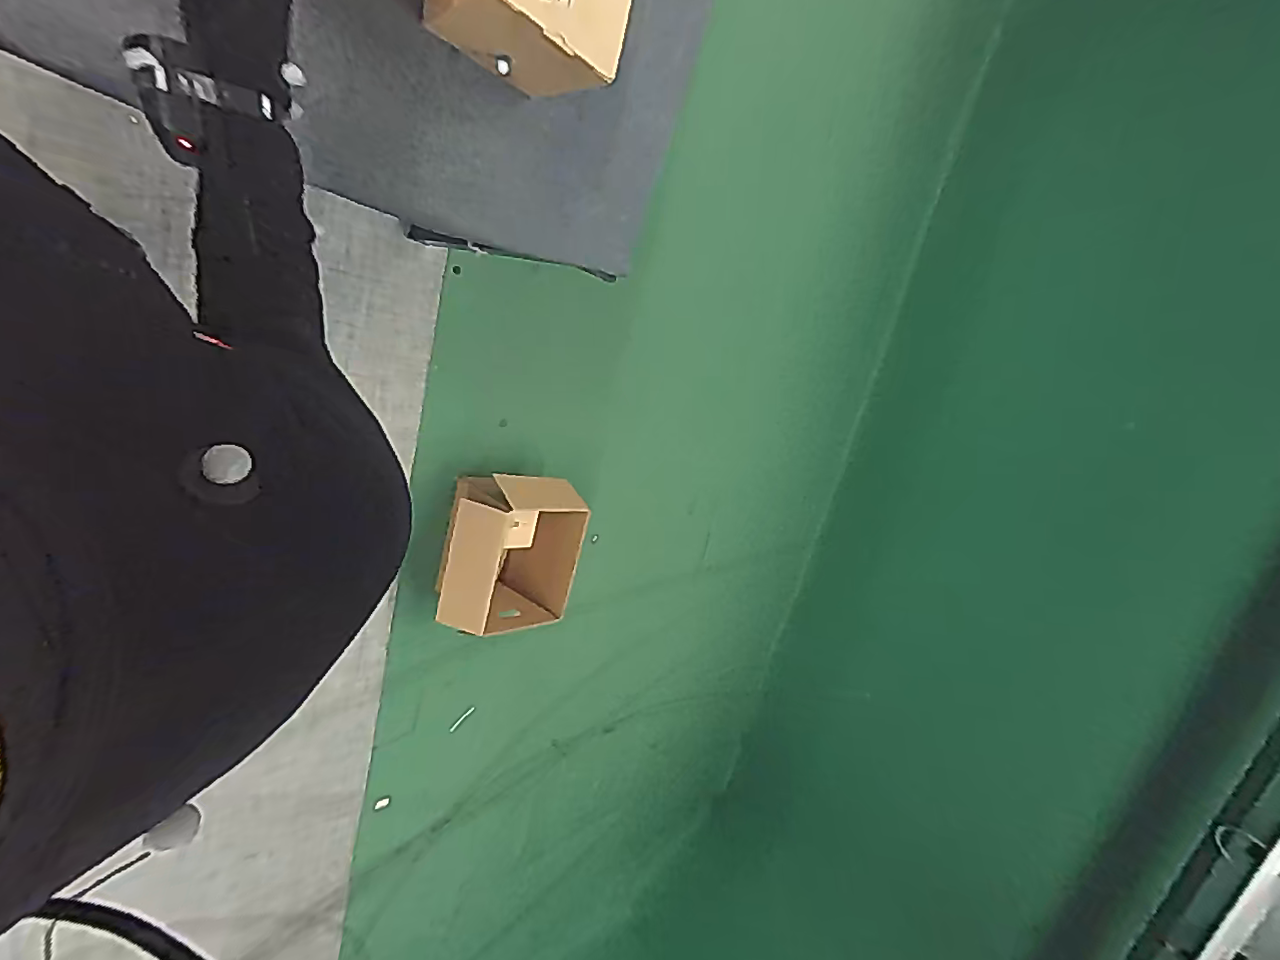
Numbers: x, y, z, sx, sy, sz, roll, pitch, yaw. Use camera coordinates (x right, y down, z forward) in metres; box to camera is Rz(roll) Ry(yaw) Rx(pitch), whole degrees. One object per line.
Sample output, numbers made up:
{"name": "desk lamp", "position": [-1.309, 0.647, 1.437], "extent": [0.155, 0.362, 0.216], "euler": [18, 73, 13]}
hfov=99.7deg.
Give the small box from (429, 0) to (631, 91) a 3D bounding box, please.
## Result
{"name": "small box", "position": [-0.122, -0.591, 0.622], "extent": [0.168, 0.176, 0.179], "euler": [1, 109, -48]}
